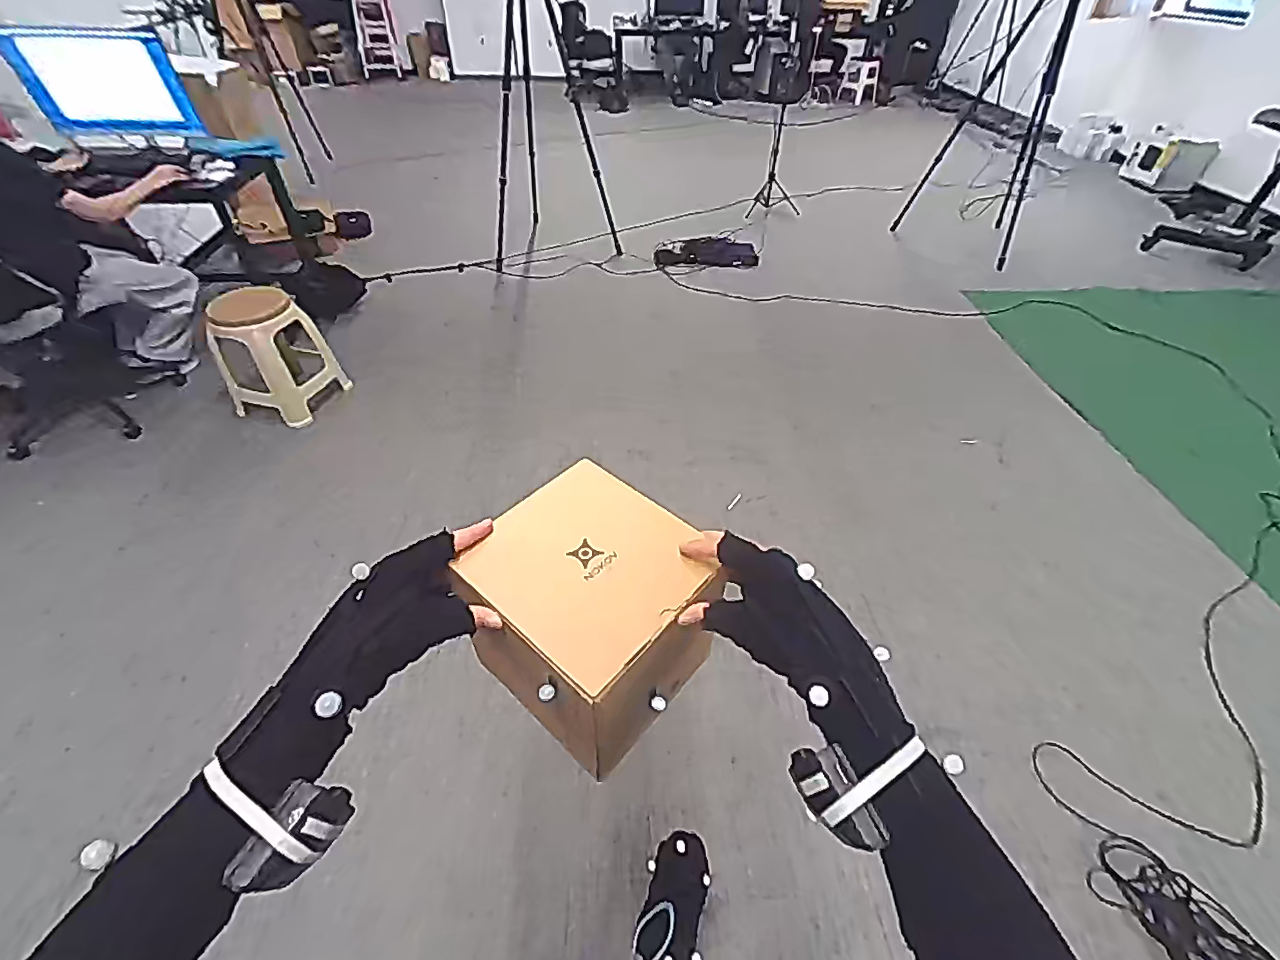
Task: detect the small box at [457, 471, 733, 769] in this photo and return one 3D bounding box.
[{"bbox_3d":[-0.043,0.128,0.507,0.179,0.176,0.168,34,51,27],"label":"small box"}]
